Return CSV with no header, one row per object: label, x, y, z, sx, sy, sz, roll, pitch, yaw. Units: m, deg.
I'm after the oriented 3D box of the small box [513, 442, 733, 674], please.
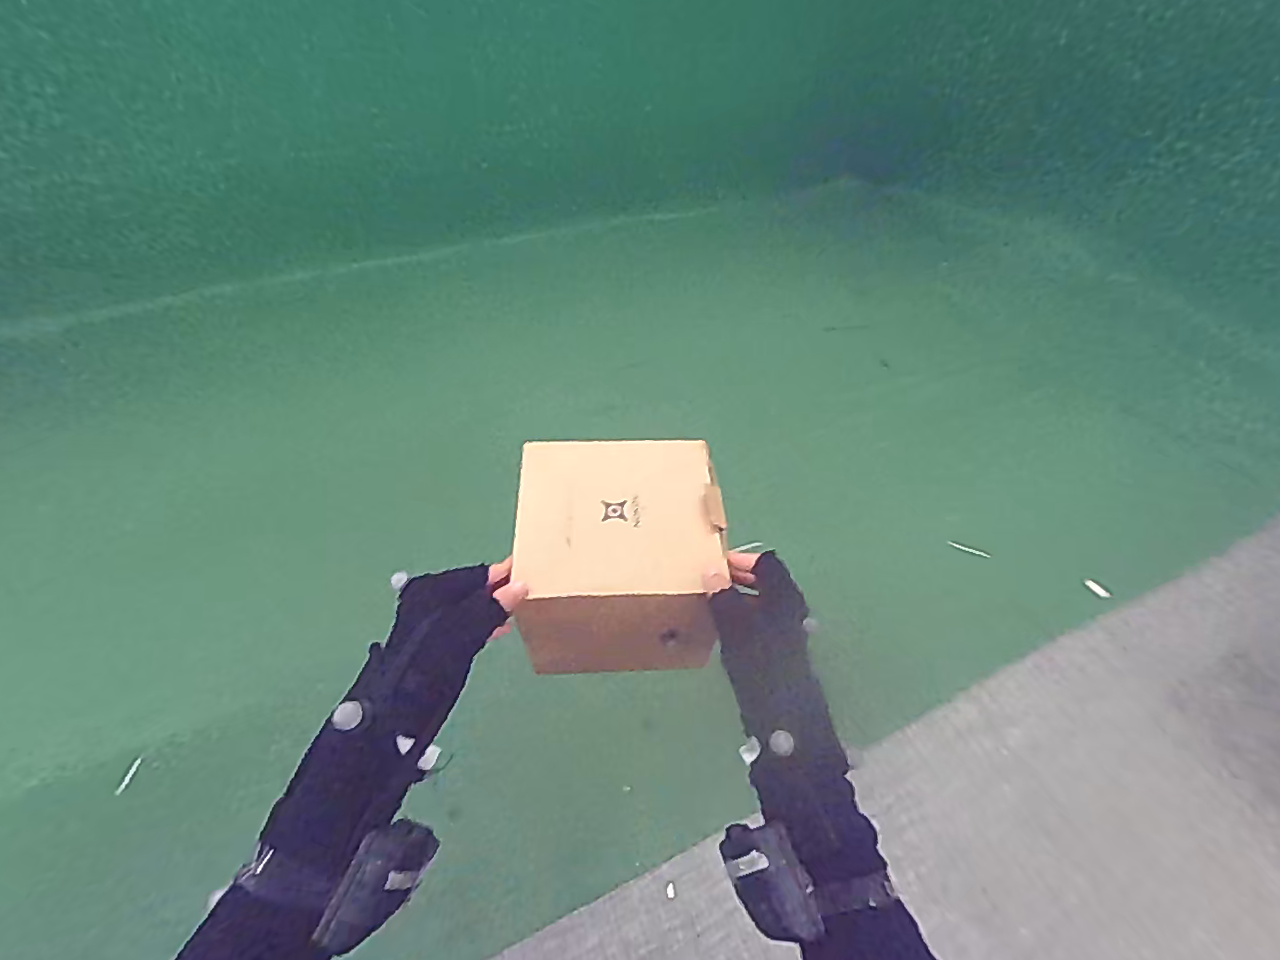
small box,-0.018,0.080,0.534,0.179,0.176,0.168,-3,50,-2
